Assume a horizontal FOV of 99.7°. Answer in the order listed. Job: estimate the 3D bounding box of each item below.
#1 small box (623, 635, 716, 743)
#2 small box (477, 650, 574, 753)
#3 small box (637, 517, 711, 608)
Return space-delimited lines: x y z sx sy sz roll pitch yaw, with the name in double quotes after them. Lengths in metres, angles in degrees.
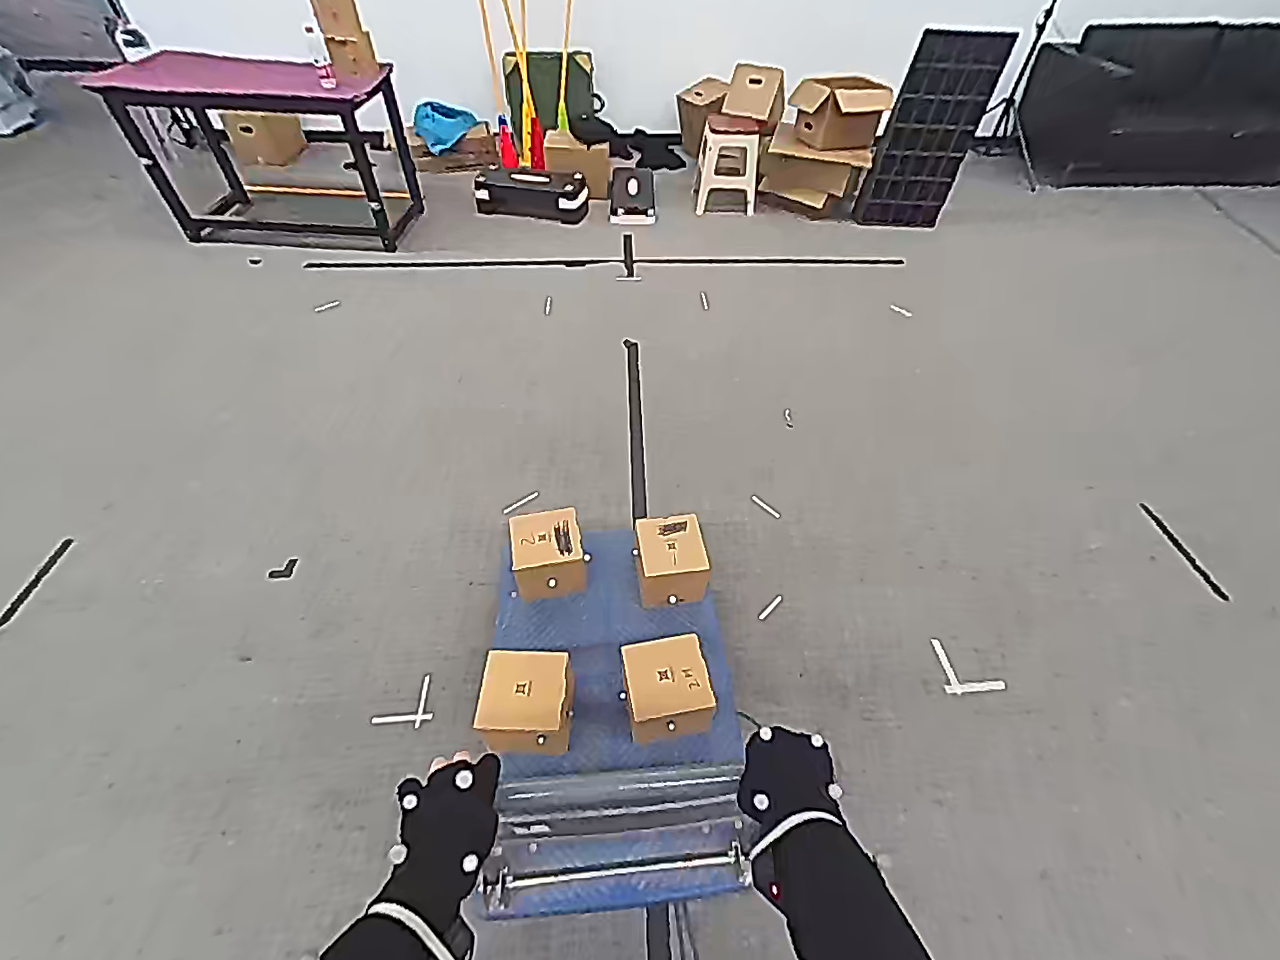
0.060 0.476 1.222 0.179 0.176 0.168 -7 49 -8 "small box"
-0.244 0.493 1.199 0.179 0.176 0.168 3 48 -2 "small box"
0.083 0.221 1.447 0.168 0.176 0.179 -5 50 -6 "small box"
